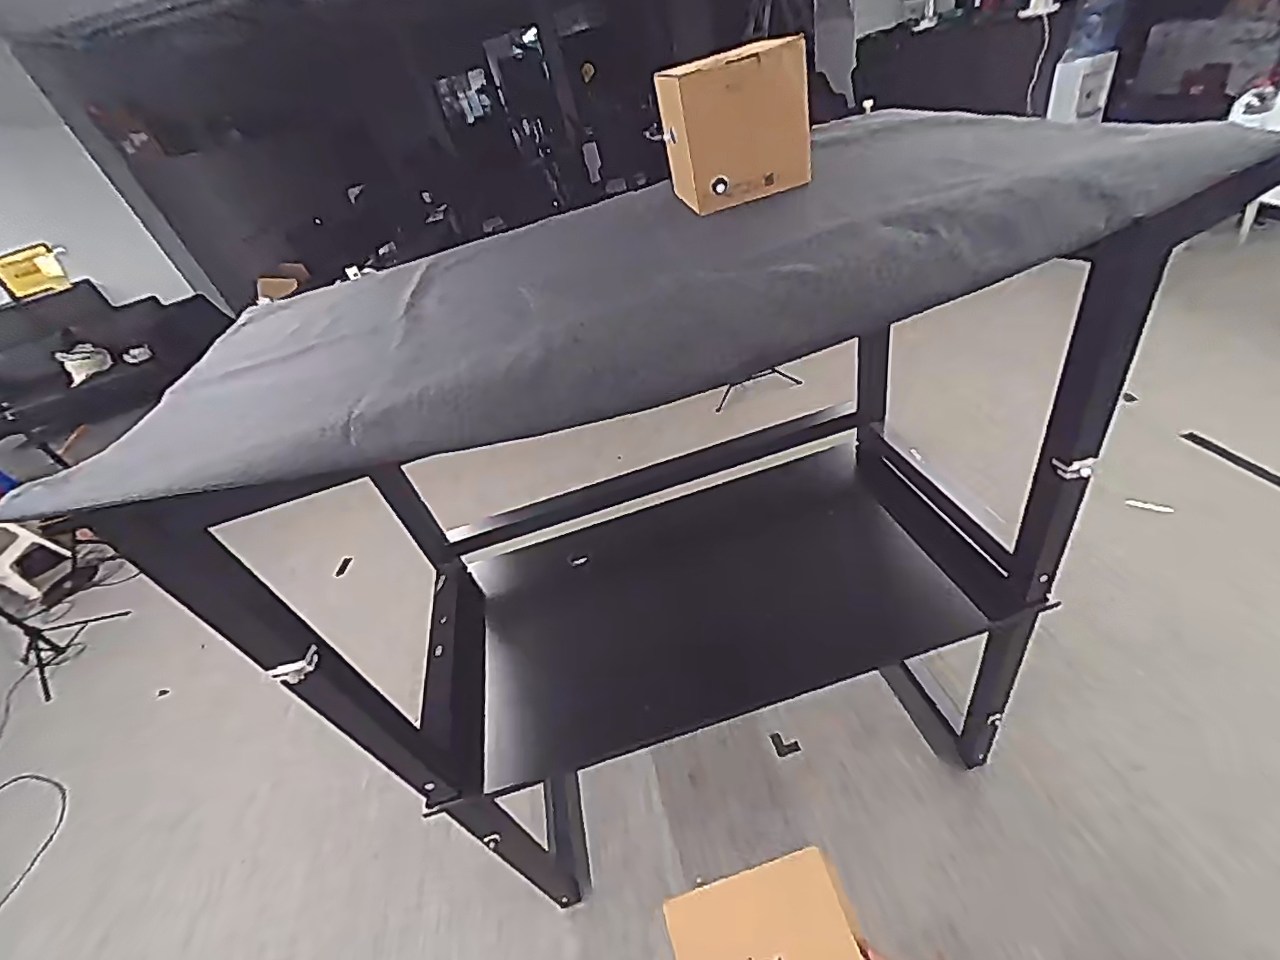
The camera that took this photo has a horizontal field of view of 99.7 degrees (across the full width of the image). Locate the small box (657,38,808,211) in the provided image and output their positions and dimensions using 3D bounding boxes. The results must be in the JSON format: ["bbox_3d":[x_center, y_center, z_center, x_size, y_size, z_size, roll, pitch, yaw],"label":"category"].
[{"bbox_3d":[0.133,-0.507,0.782,0.168,0.176,0.179,-16,37,1],"label":"small box"}]
